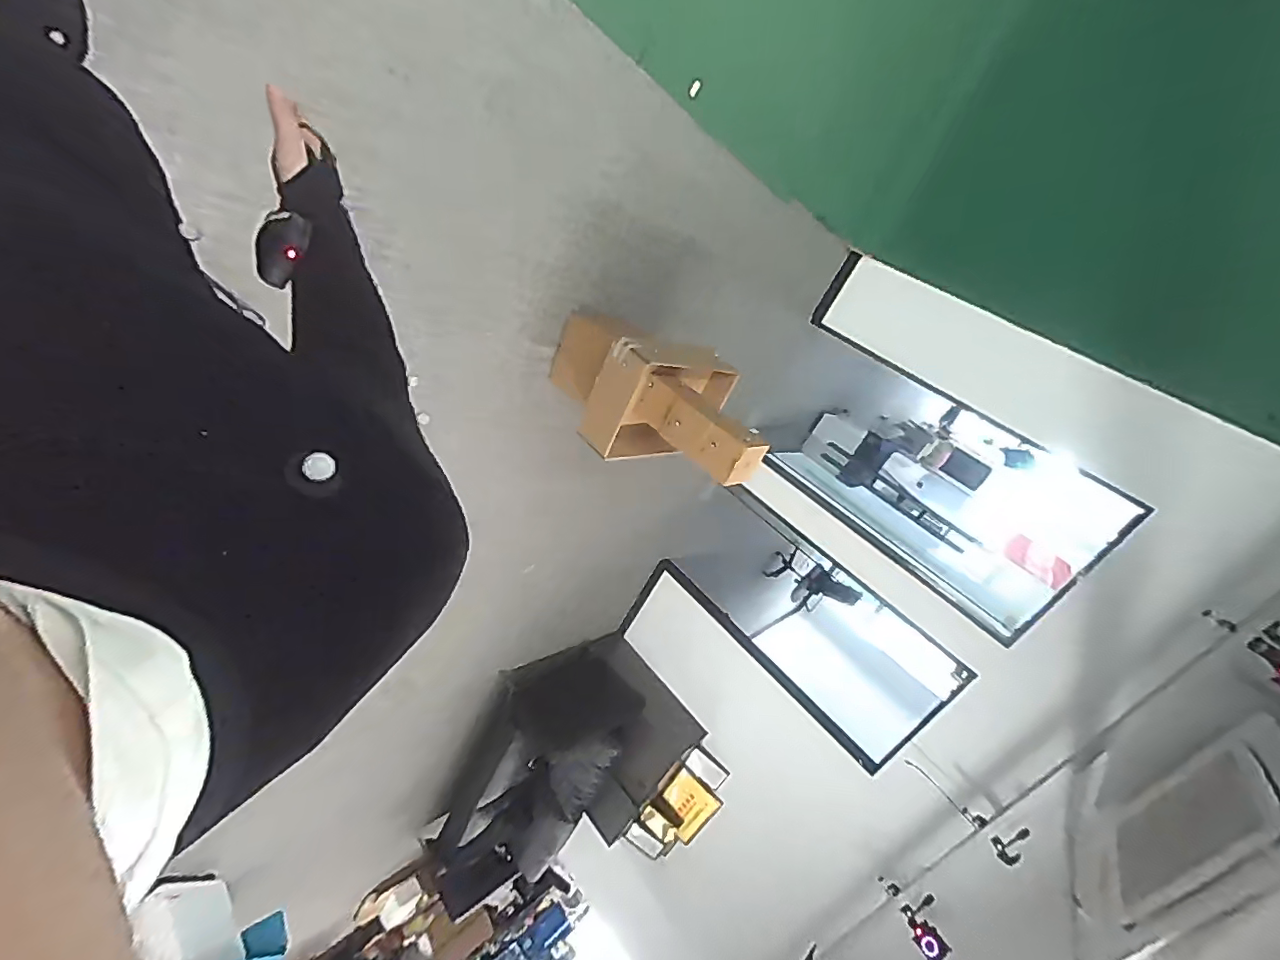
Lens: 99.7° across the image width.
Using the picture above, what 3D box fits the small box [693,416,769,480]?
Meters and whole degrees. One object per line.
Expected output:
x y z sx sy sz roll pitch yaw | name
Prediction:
0.324 -0.120 1.934 0.179 0.176 0.168 -9 134 -50 | small box

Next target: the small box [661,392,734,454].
0.212 -0.214 2.005 0.179 0.176 0.168 -9 133 -51 | small box

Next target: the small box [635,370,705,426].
0.110 -0.313 2.089 0.179 0.176 0.168 -9 134 -52 | small box
